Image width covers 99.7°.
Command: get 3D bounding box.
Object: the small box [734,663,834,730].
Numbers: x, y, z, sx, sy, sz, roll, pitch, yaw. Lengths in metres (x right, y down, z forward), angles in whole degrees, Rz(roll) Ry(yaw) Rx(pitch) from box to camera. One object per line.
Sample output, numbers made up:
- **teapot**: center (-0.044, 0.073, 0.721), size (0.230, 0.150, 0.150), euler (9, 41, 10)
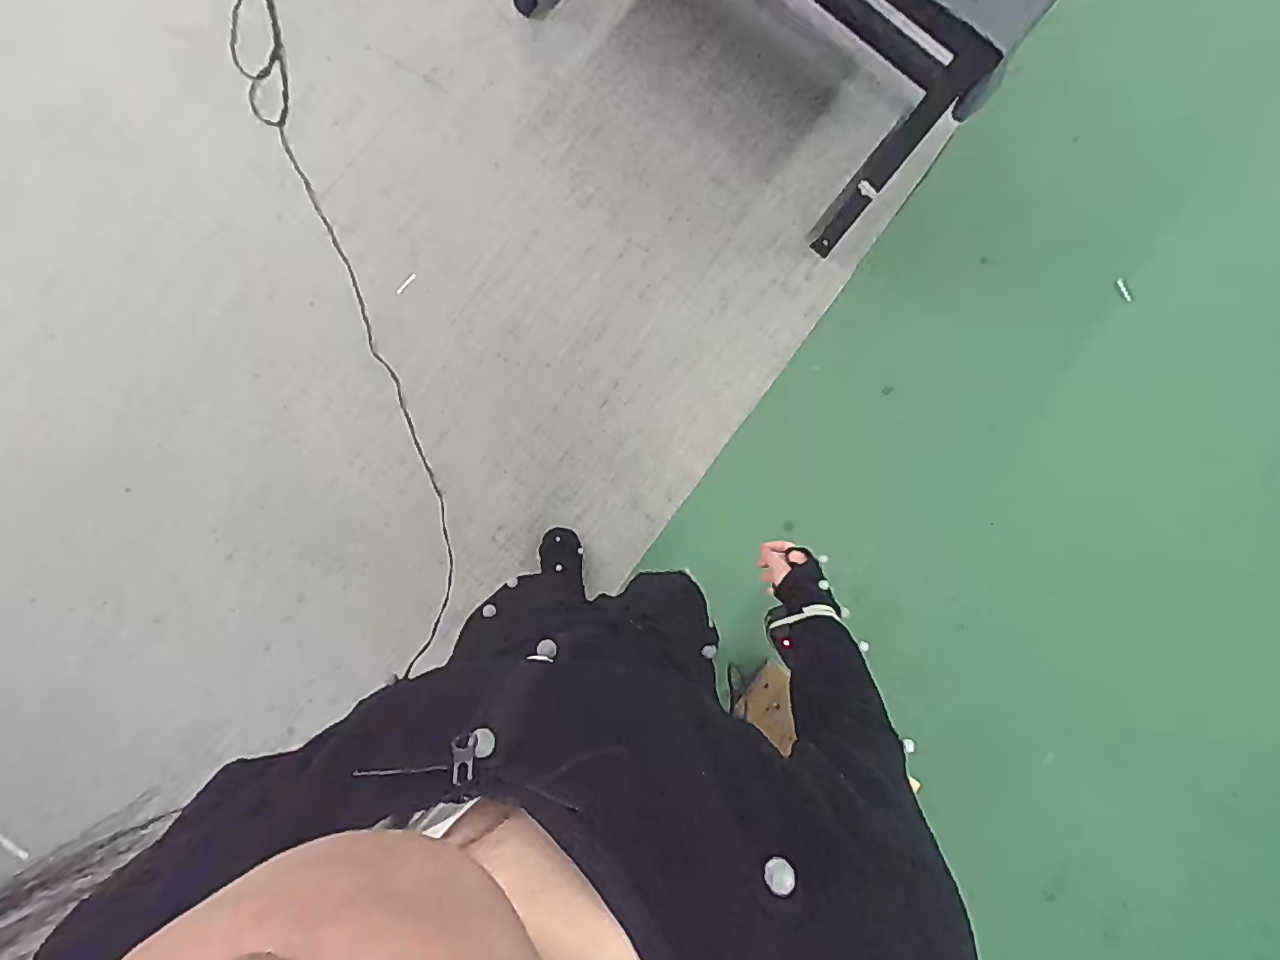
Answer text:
- **small box**: center (0.375, 0.607, 1.427), size (0.179, 0.176, 0.168), euler (38, 85, -2)
